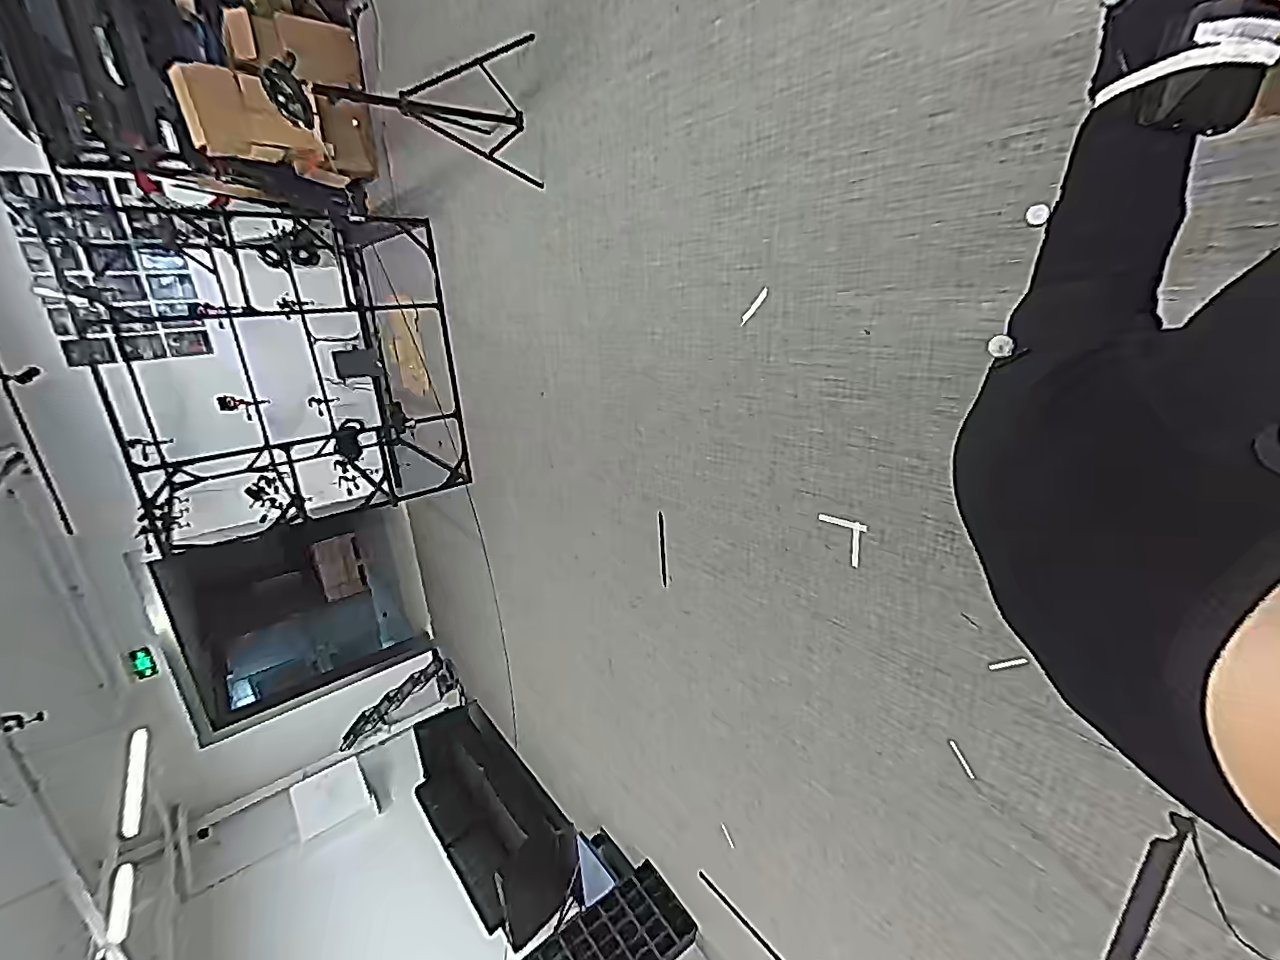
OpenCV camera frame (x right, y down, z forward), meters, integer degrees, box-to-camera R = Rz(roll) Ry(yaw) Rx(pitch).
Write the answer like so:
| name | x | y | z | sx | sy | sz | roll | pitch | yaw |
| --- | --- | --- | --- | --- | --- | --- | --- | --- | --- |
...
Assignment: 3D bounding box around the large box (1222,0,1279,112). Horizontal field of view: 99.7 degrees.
| name | x | y | z | sx | sy | sz | roll | pitch | yaw |
| --- | --- | --- | --- | --- | --- | --- | --- | --- | --- |
| large box | 0.621 | -0.440 | 0.266 | 0.408 | 0.320 | 0.320 | 16 | 119 | 48 |
